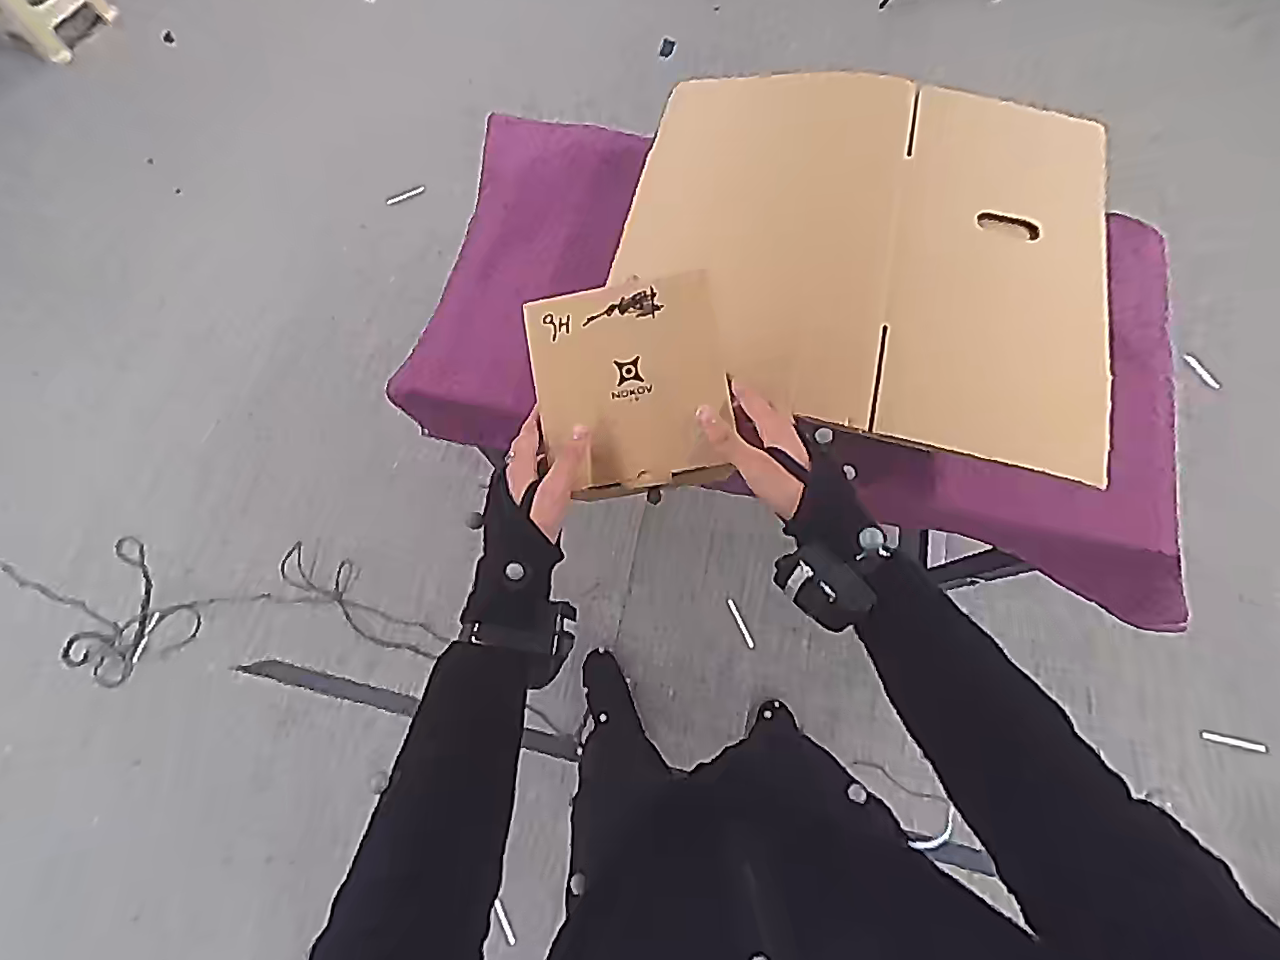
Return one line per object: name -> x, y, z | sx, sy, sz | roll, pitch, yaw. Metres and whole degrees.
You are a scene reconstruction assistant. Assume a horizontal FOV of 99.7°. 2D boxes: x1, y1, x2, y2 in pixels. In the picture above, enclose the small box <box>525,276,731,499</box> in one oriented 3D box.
small box -> -0.004, -0.077, 0.551 | 0.168, 0.176, 0.179 | -9, 86, 4
